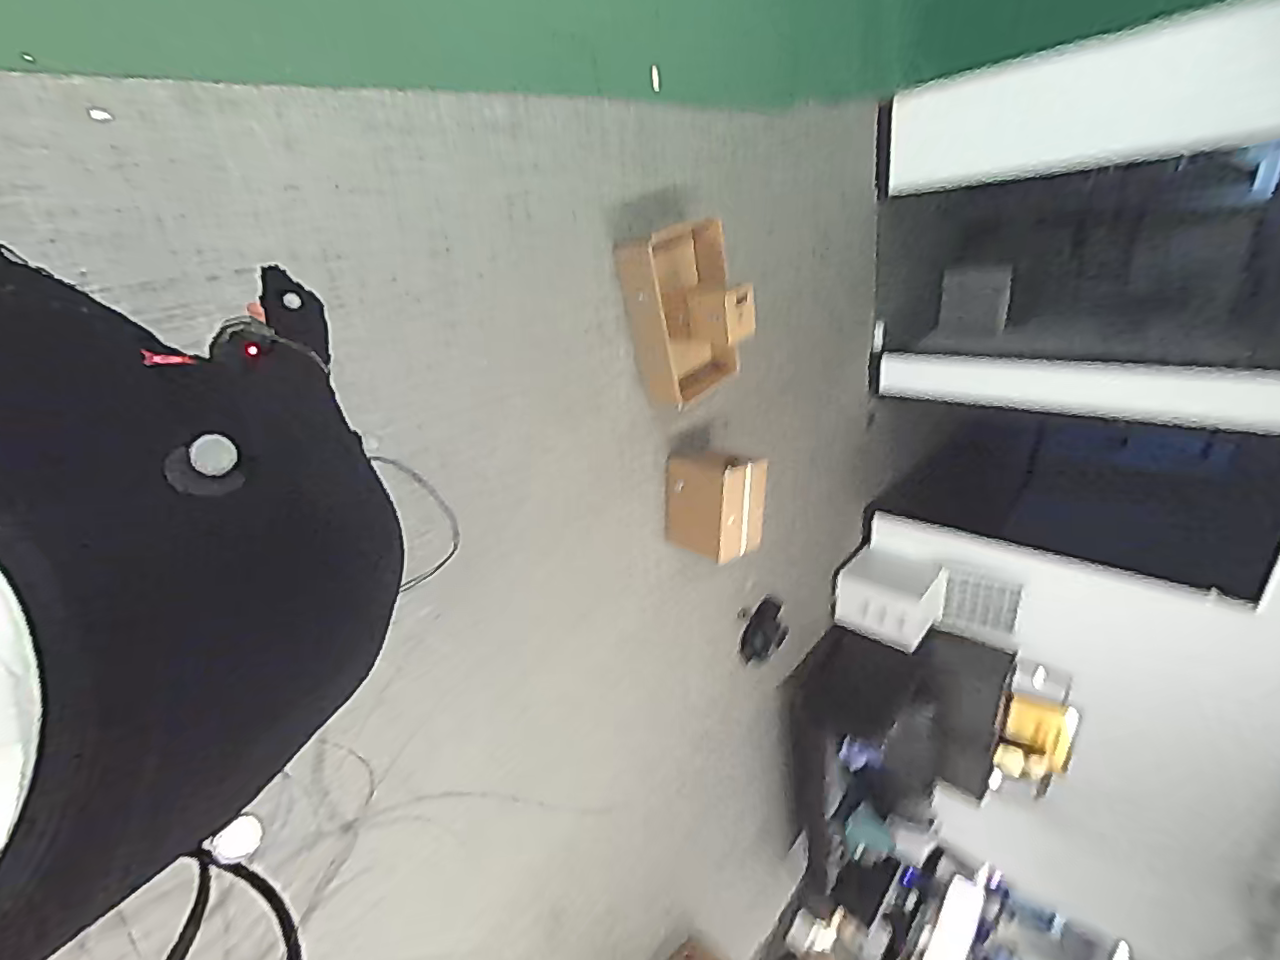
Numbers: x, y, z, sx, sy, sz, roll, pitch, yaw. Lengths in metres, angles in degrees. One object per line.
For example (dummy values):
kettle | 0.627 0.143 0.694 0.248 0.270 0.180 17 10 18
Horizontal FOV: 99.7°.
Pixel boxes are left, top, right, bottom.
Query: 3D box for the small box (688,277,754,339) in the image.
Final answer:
small box | 0.284 -0.612 1.920 0.168 0.176 0.179 -33 125 -35

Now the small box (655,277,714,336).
small box | 0.175 -0.654 2.037 0.168 0.176 0.179 -35 127 -34
